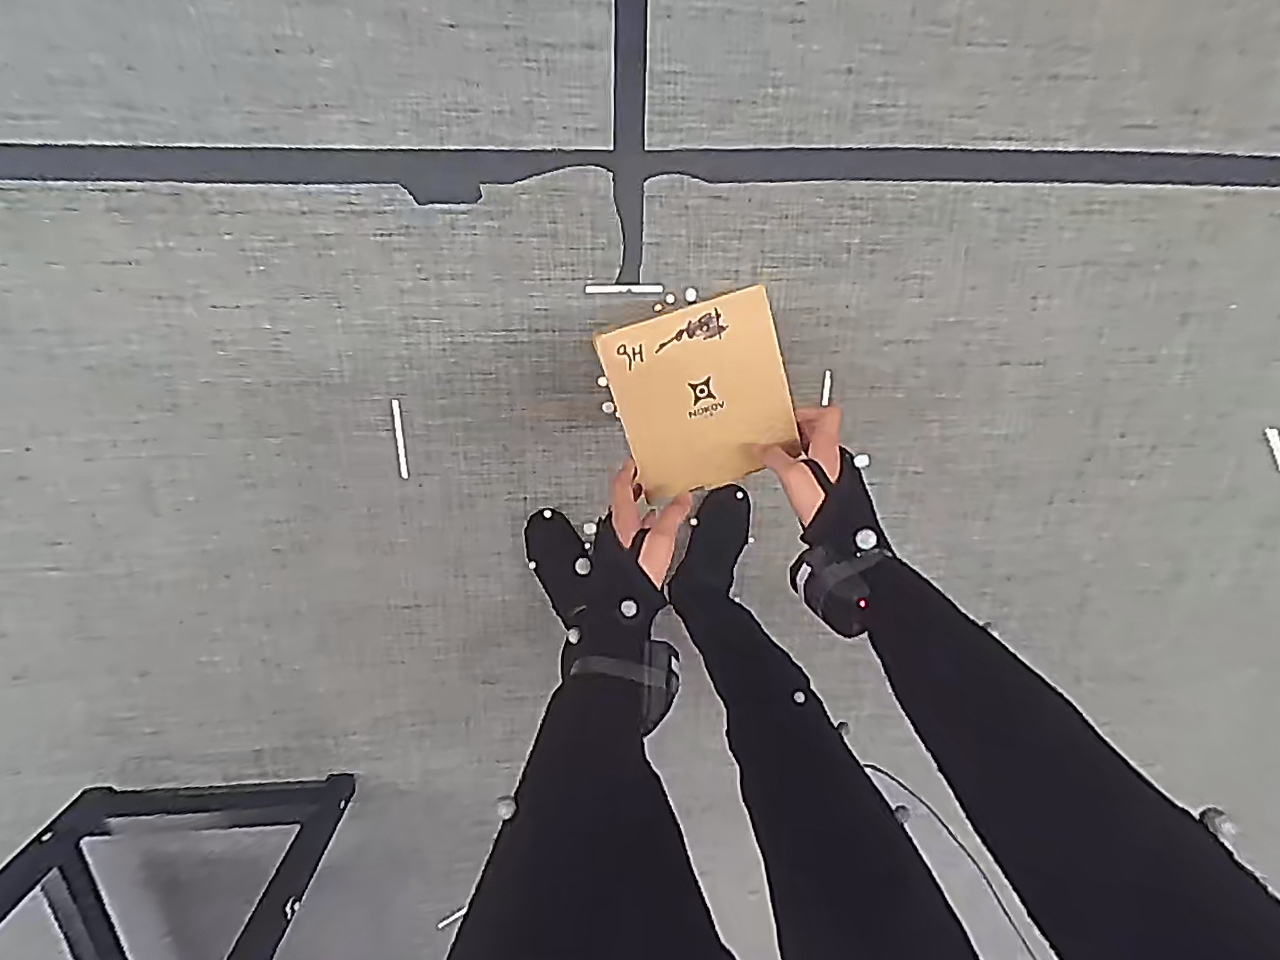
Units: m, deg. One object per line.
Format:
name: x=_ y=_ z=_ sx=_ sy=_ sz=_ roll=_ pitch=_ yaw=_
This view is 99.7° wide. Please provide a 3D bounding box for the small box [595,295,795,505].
small box: x=0.053 y=-0.098 z=0.604 sx=0.168 sy=0.176 sz=0.179 roll=-18 pitch=108 yaw=1
